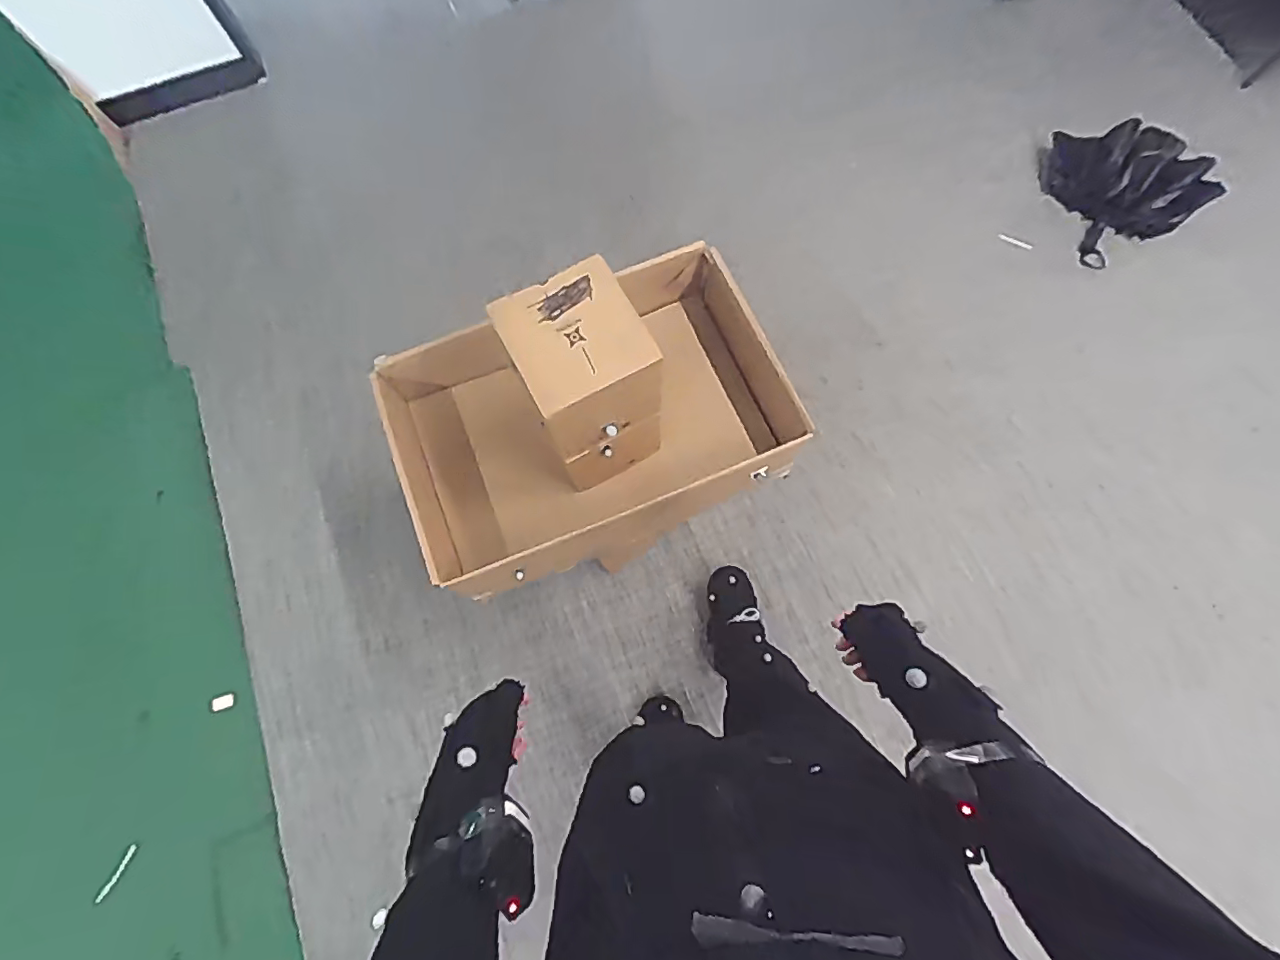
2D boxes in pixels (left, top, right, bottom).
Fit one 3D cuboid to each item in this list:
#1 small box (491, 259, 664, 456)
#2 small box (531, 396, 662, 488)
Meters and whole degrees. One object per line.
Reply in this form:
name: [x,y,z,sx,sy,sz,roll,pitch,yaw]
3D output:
small box: [-0.080,-0.160,0.753,0.168,0.176,0.179,-28,76,-6]
small box: [-0.075,-0.112,0.910,0.168,0.176,0.179,-29,74,-5]
